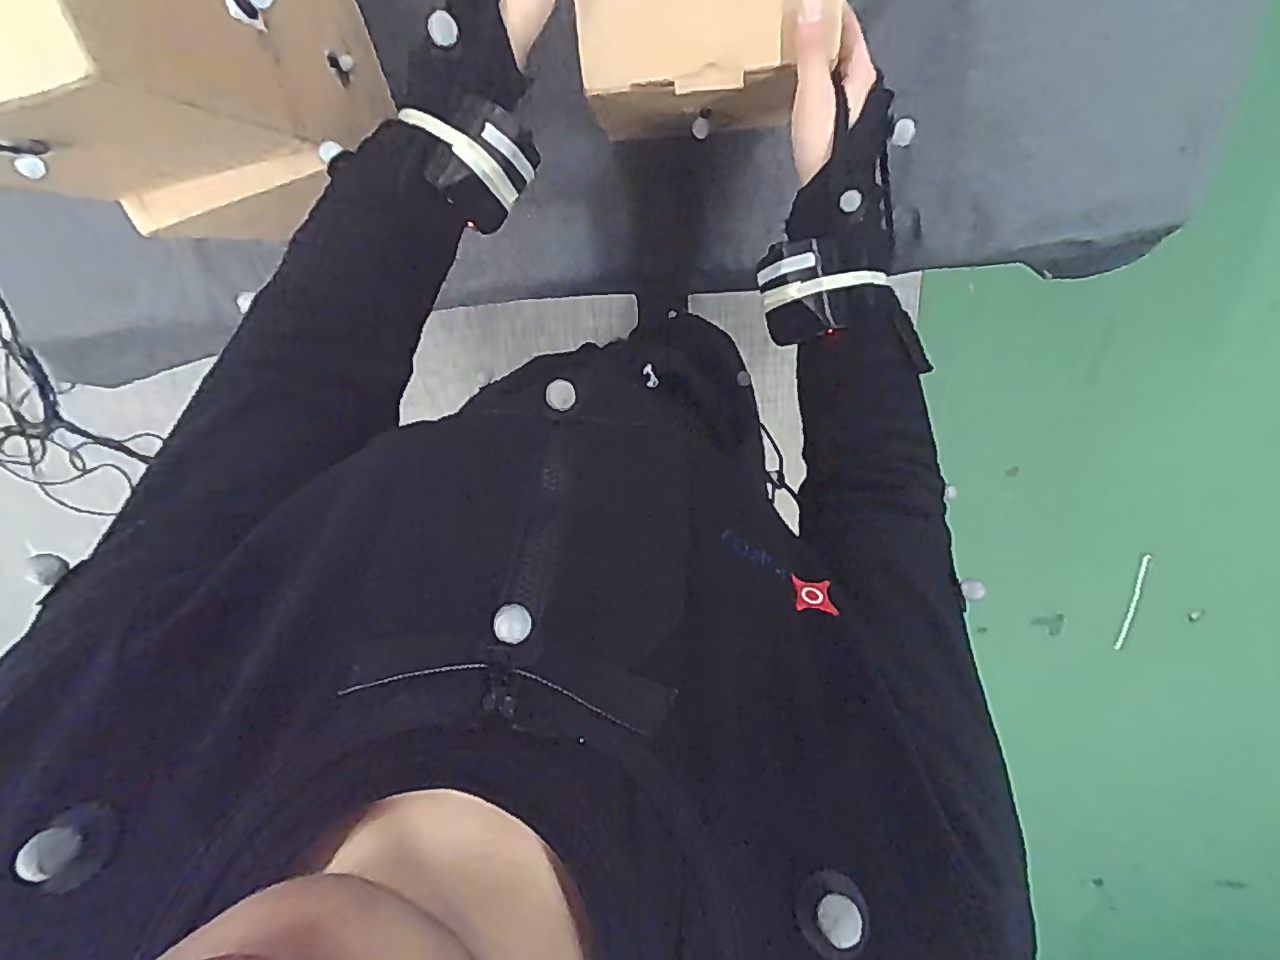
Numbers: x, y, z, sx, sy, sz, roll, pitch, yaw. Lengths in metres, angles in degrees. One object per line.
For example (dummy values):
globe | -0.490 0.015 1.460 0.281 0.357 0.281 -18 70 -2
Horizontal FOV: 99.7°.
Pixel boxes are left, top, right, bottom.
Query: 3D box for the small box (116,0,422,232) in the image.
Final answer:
small box | -0.310 -0.313 0.432 0.168 0.176 0.179 -13 112 9

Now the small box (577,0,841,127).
small box | 0.043 -0.372 0.389 0.168 0.176 0.179 -4 113 5

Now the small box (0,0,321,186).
small box | -0.315 -0.263 0.277 0.179 0.176 0.168 -10 114 6
